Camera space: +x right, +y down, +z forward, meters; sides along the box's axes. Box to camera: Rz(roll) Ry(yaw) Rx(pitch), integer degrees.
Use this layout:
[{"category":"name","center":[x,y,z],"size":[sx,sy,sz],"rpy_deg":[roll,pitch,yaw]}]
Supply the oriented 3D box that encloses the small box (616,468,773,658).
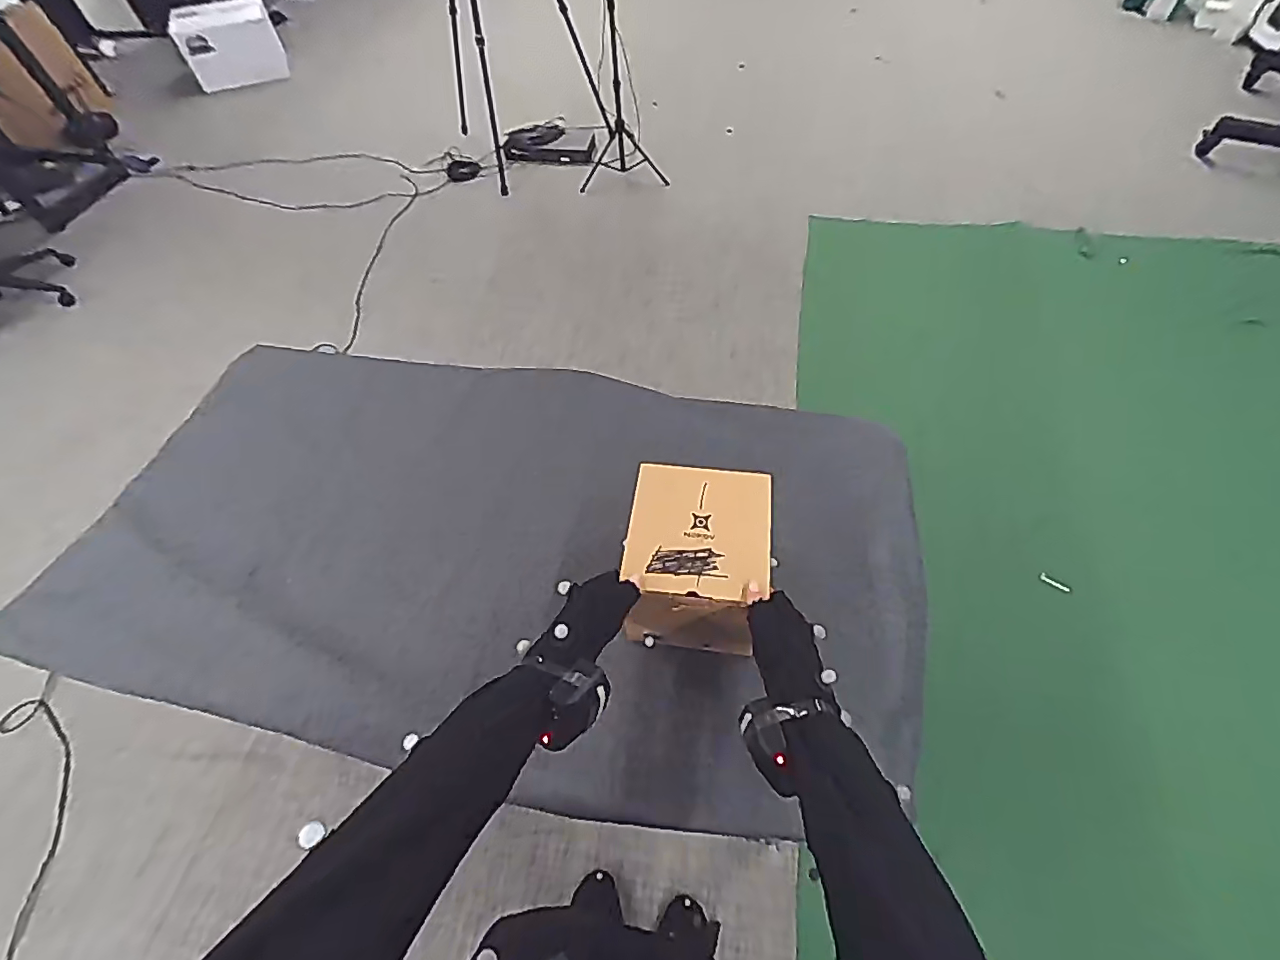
[{"category":"small box","center":[0.072,0.108,0.685],"size":[0.168,0.176,0.179],"rpy_deg":[6,53,8]}]
